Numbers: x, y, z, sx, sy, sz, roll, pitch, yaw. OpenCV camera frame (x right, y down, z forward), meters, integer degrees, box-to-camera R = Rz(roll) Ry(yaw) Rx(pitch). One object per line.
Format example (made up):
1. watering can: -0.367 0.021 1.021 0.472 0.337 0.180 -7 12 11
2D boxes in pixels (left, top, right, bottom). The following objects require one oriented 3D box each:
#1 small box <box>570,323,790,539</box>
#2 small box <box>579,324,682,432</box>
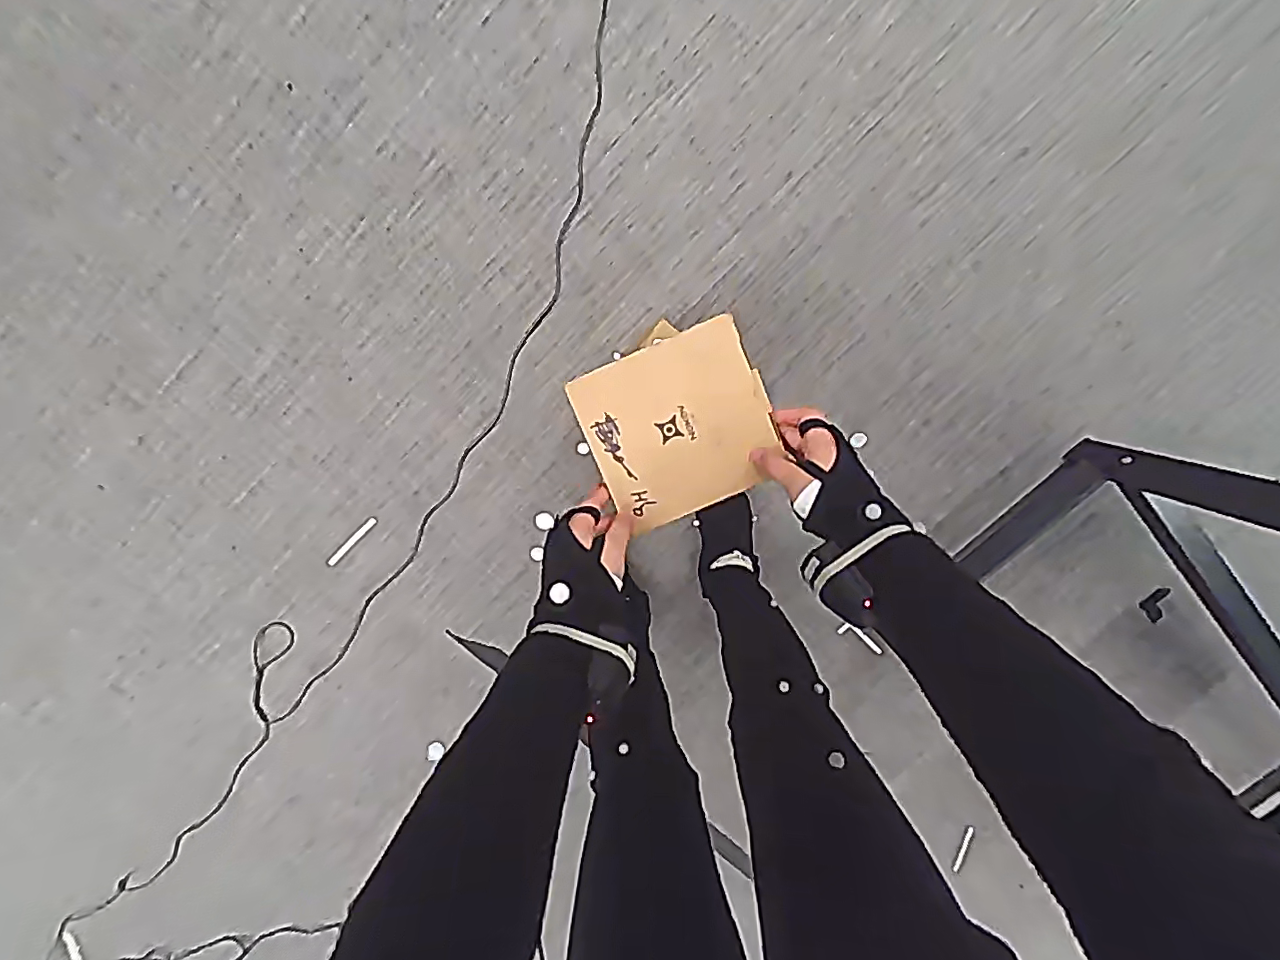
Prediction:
1. small box: 0.041 -0.054 0.610 0.179 0.176 0.168 -23 93 3
2. small box: 0.031 -0.107 0.797 0.168 0.176 0.179 38 99 -12
